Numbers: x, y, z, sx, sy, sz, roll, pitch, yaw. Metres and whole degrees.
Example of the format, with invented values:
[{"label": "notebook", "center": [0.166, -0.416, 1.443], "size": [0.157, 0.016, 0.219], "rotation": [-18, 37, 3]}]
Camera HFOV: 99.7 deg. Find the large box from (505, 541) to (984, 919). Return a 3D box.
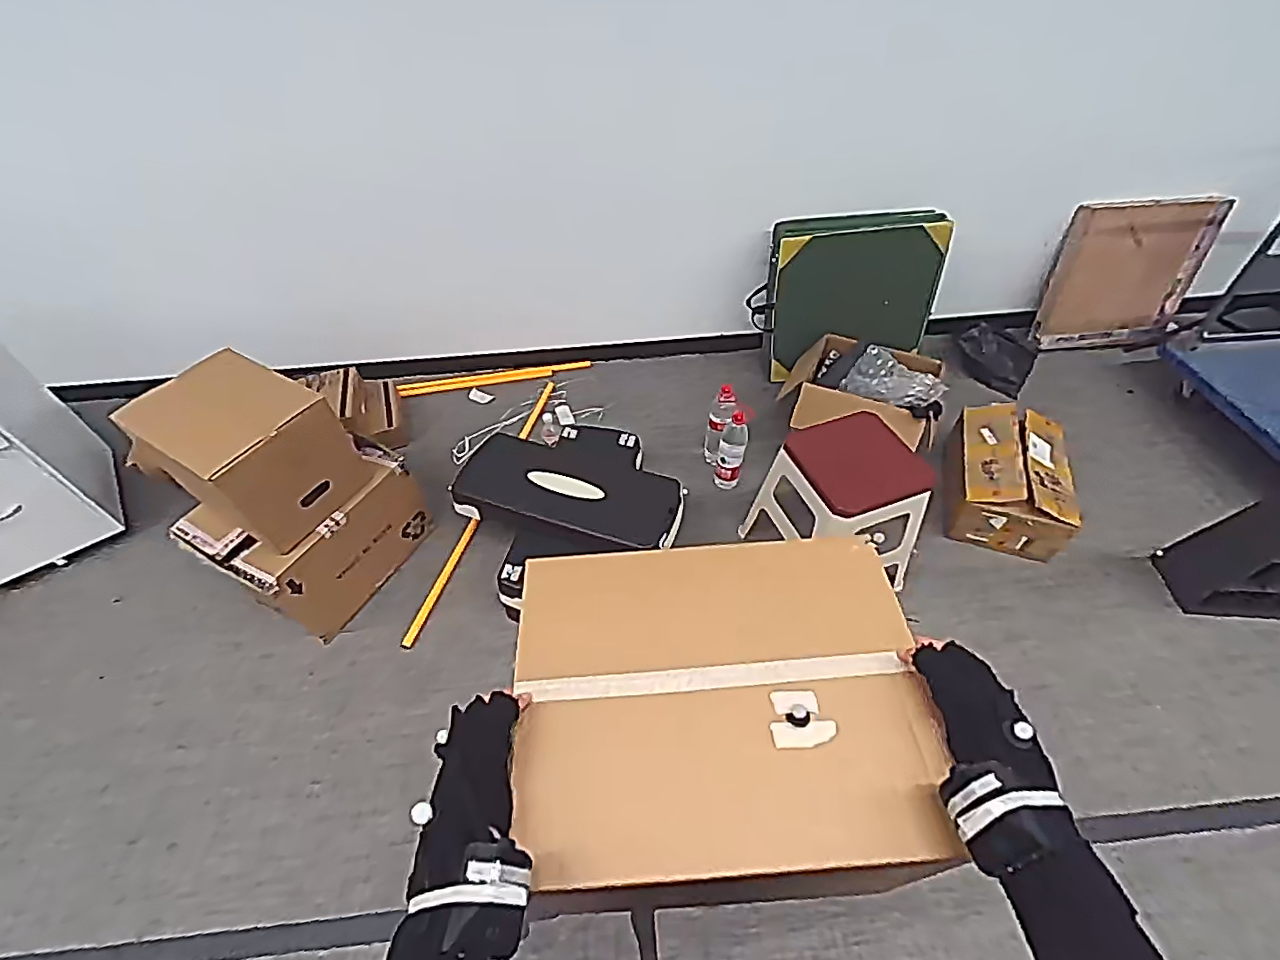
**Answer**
[{"label": "large box", "center": [0.081, 0.300, 0.647], "size": [0.408, 0.320, 0.320], "rotation": [-4, 48, -1]}]
